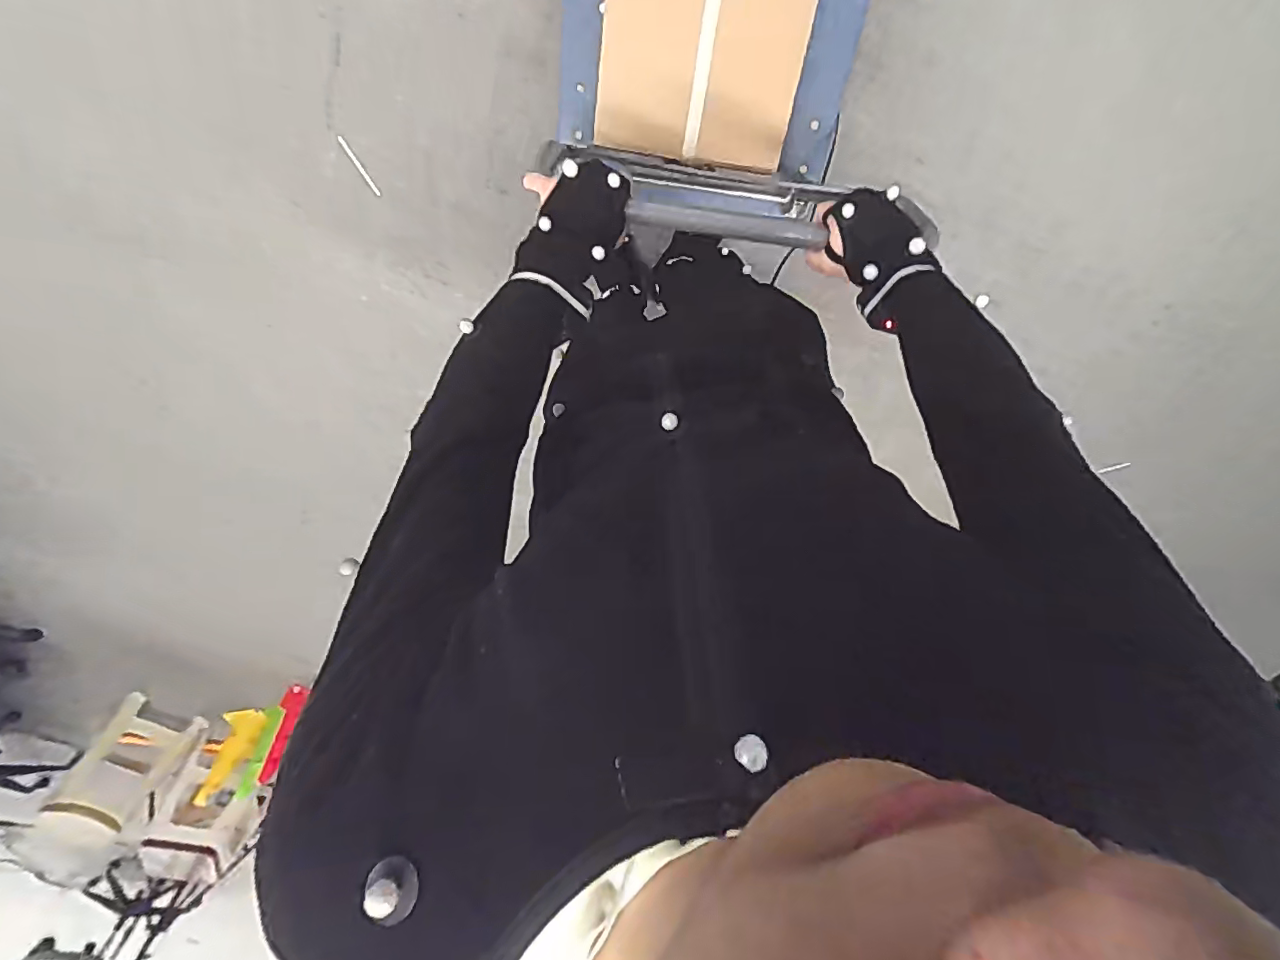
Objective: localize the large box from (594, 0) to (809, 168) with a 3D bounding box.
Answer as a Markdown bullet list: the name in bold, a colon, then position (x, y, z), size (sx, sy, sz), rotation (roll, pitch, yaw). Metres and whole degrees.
- **large box**: position (0.099, -0.791, 0.943), size (0.320, 0.320, 0.408), rotation (6, 120, -5)
